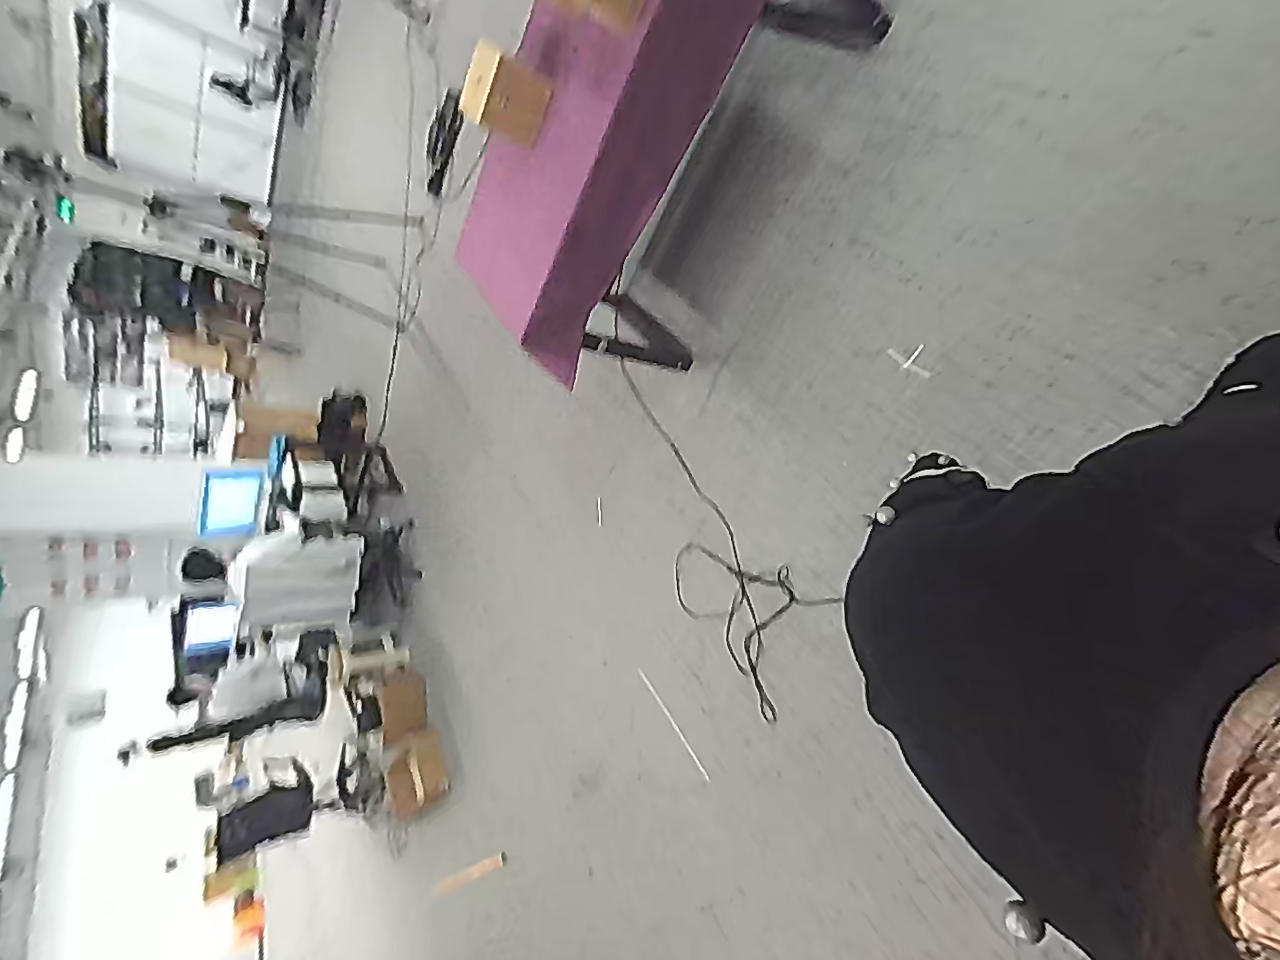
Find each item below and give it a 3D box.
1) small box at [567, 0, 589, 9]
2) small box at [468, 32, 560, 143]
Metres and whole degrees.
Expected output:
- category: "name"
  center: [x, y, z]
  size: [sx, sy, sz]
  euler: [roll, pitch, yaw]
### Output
- category: "small box"
  center: [-0.192, -1.319, 1.338]
  size: [0.168, 0.176, 0.179]
  euler: [-56, 51, 31]
- category: "small box"
  center: [-0.347, -1.078, 1.497]
  size: [0.179, 0.176, 0.168]
  euler: [-55, 53, 30]
